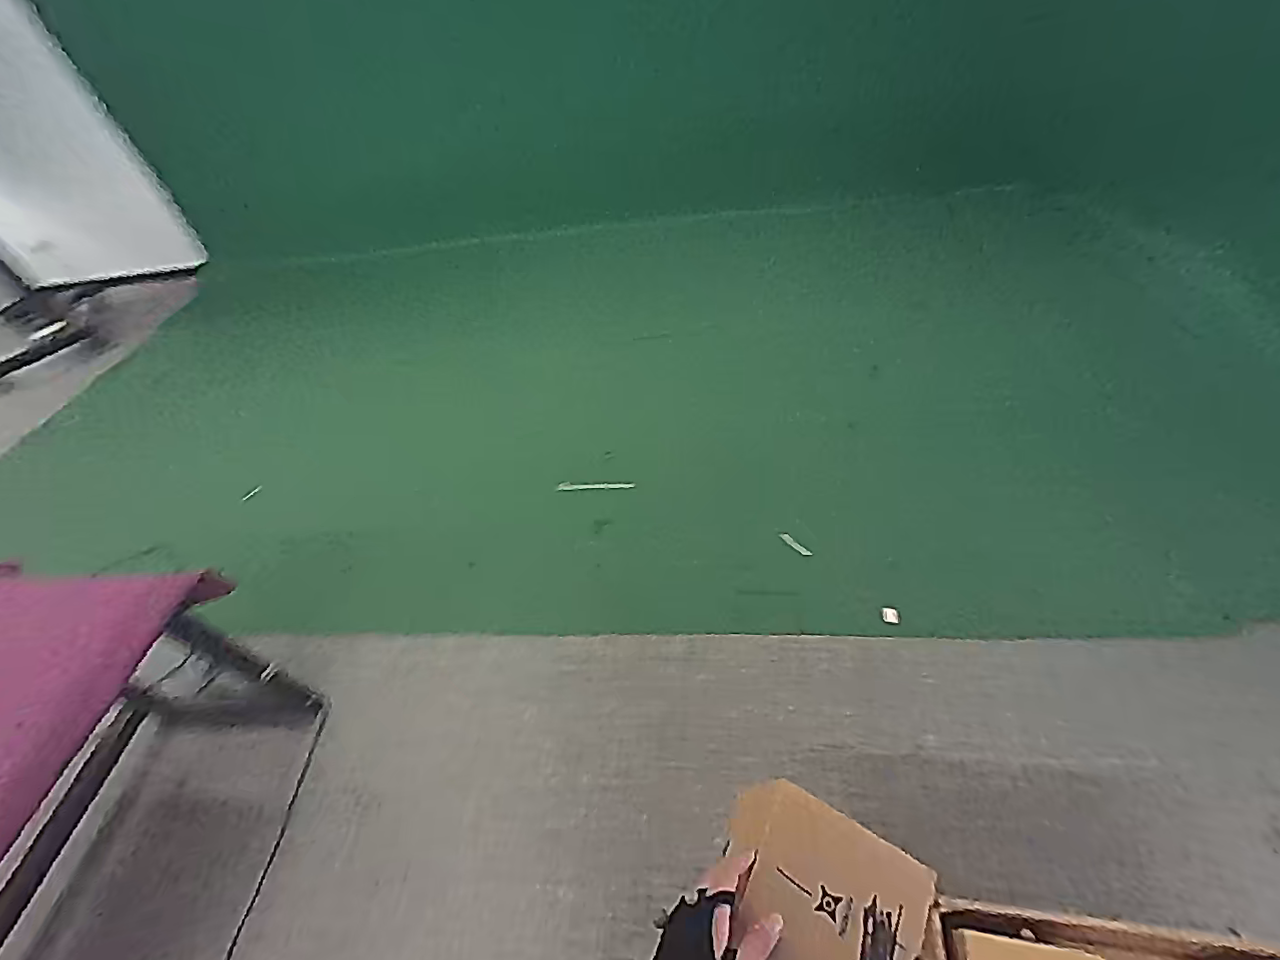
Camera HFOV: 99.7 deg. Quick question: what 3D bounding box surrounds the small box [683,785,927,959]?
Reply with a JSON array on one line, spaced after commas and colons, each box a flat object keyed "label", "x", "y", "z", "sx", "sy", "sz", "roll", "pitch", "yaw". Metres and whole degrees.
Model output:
[{"label": "small box", "x": 0.168, "y": 0.461, "z": 0.584, "sx": 0.179, "sy": 0.176, "sz": 0.168, "roll": 28, "pitch": 57, "yaw": 10}]
